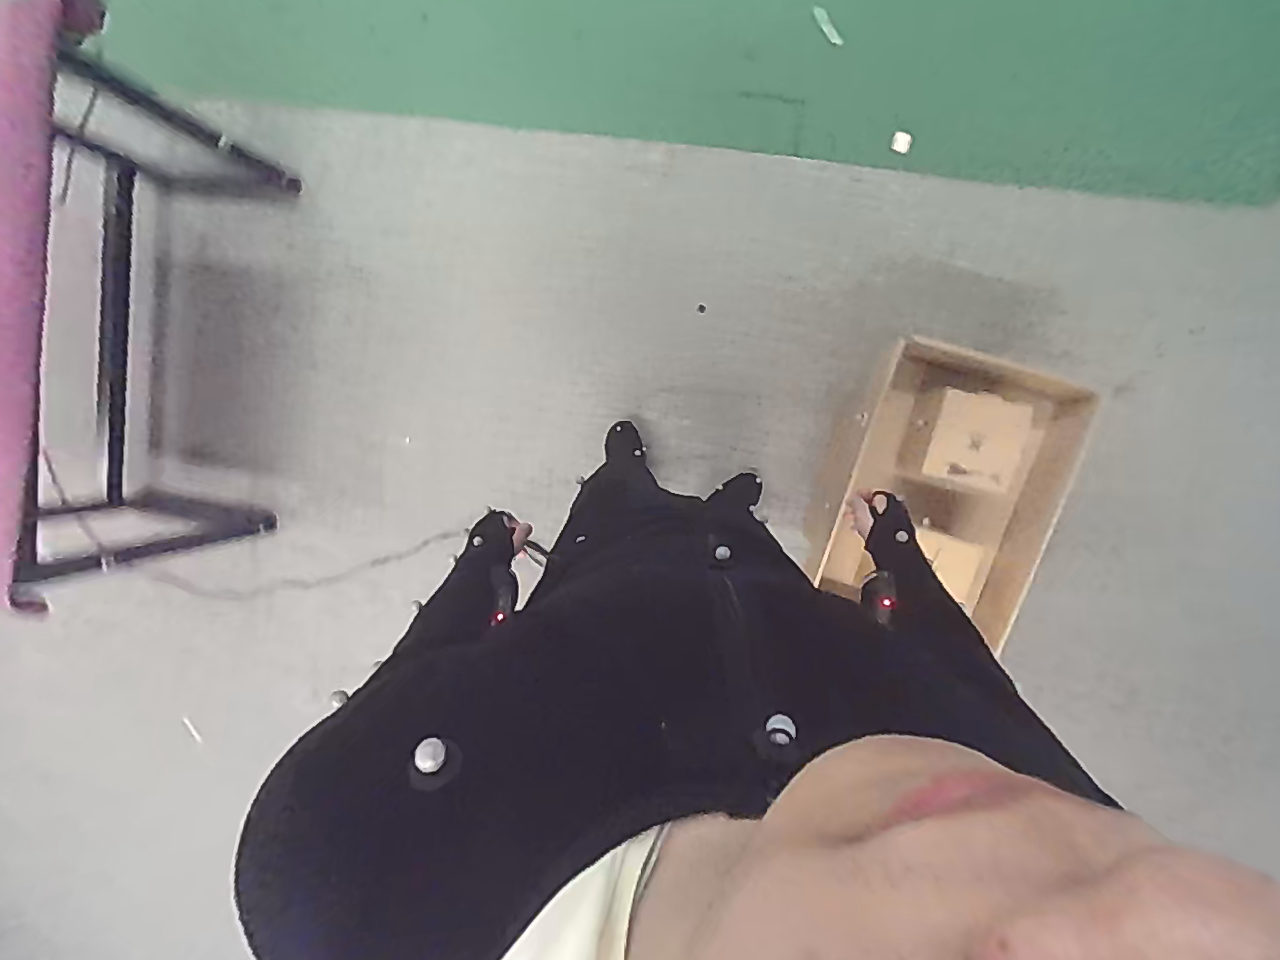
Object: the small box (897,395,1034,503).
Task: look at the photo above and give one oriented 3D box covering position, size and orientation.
[{"bbox_3d":[0.659,-0.064,1.120,0.168,0.176,0.179,16,96,7],"label":"small box"}]
